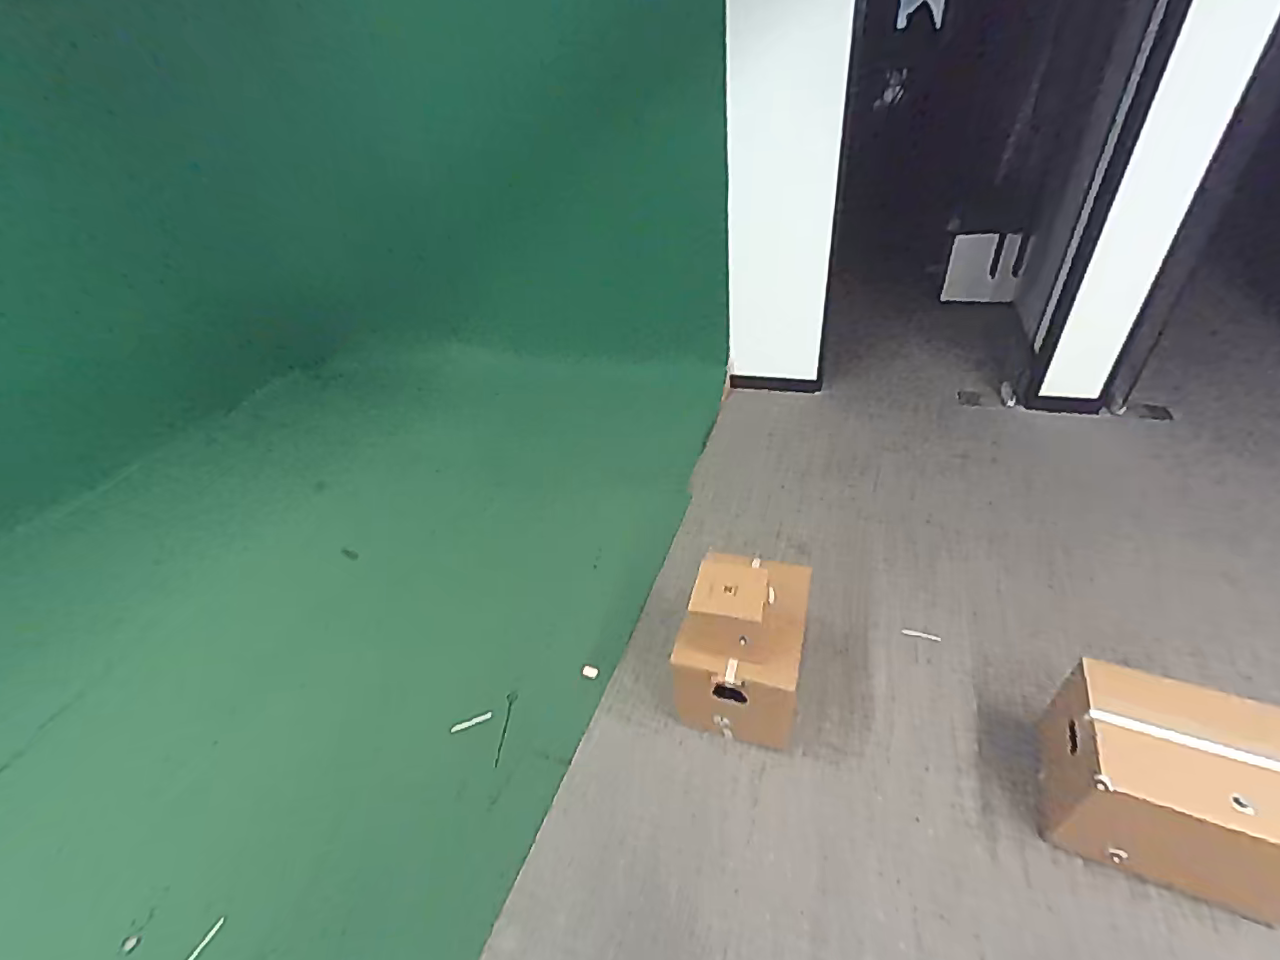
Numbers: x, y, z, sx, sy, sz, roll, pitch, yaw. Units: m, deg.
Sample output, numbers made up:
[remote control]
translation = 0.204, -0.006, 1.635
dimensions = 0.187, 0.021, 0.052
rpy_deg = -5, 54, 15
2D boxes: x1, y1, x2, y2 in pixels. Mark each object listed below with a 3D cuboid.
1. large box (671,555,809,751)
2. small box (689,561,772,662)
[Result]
[large box]
translation = 0.299, 0.481, 1.547
dimensions = 0.320, 0.320, 0.408
rpy_deg = 7, 40, 19
[small box]
translation = 0.231, 0.330, 1.353
dimensions = 0.179, 0.176, 0.168
rpy_deg = 5, 39, 19
